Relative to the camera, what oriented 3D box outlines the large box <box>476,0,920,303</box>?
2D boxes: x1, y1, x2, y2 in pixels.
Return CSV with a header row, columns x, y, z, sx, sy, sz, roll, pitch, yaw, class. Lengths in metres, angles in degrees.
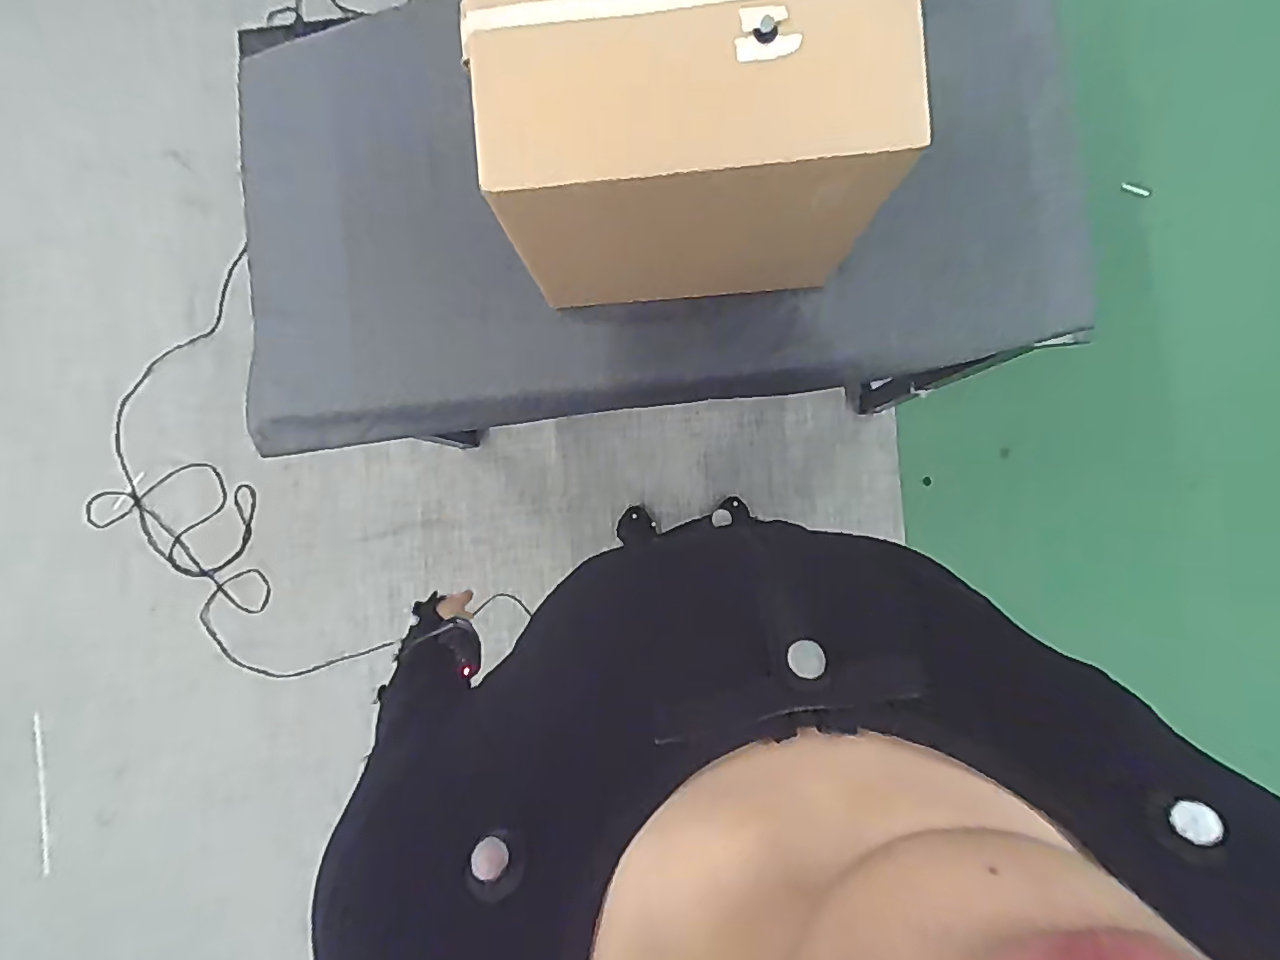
x,y,z,sx,sy,sz,roll,pitch,yaw,class
0.050,-0.434,0.650,0.408,0.320,0.320,-5,89,2,large box
